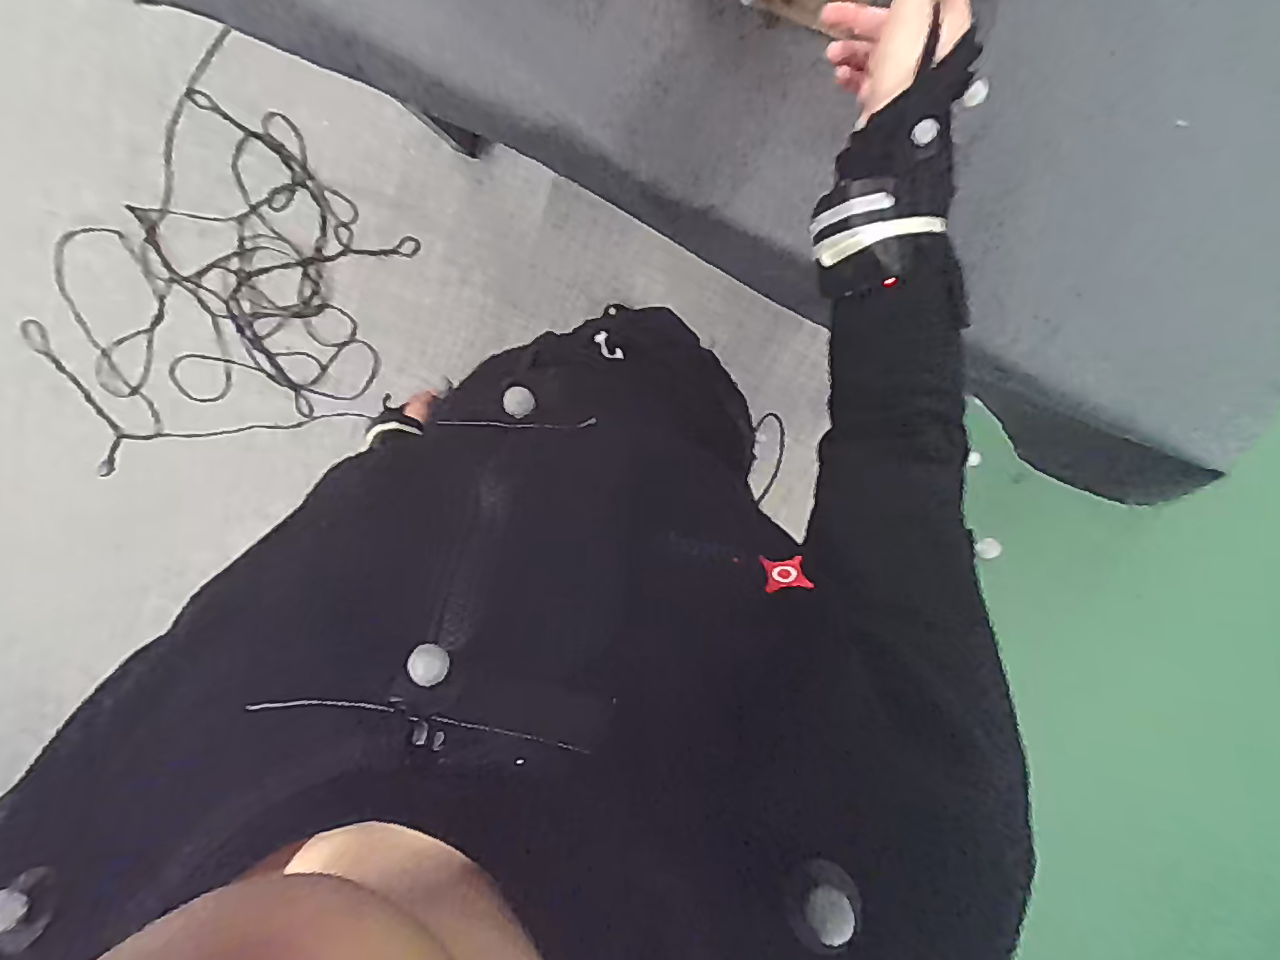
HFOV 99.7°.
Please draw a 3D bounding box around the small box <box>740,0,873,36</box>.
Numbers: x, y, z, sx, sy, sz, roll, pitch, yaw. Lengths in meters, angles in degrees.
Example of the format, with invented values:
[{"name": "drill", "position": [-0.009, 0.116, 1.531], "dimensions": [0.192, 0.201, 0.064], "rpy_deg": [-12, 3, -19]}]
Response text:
[{"name": "small box", "position": [0.133, -0.473, 0.378], "dimensions": [0.168, 0.176, 0.179], "rpy_deg": [17, 106, -3]}]
